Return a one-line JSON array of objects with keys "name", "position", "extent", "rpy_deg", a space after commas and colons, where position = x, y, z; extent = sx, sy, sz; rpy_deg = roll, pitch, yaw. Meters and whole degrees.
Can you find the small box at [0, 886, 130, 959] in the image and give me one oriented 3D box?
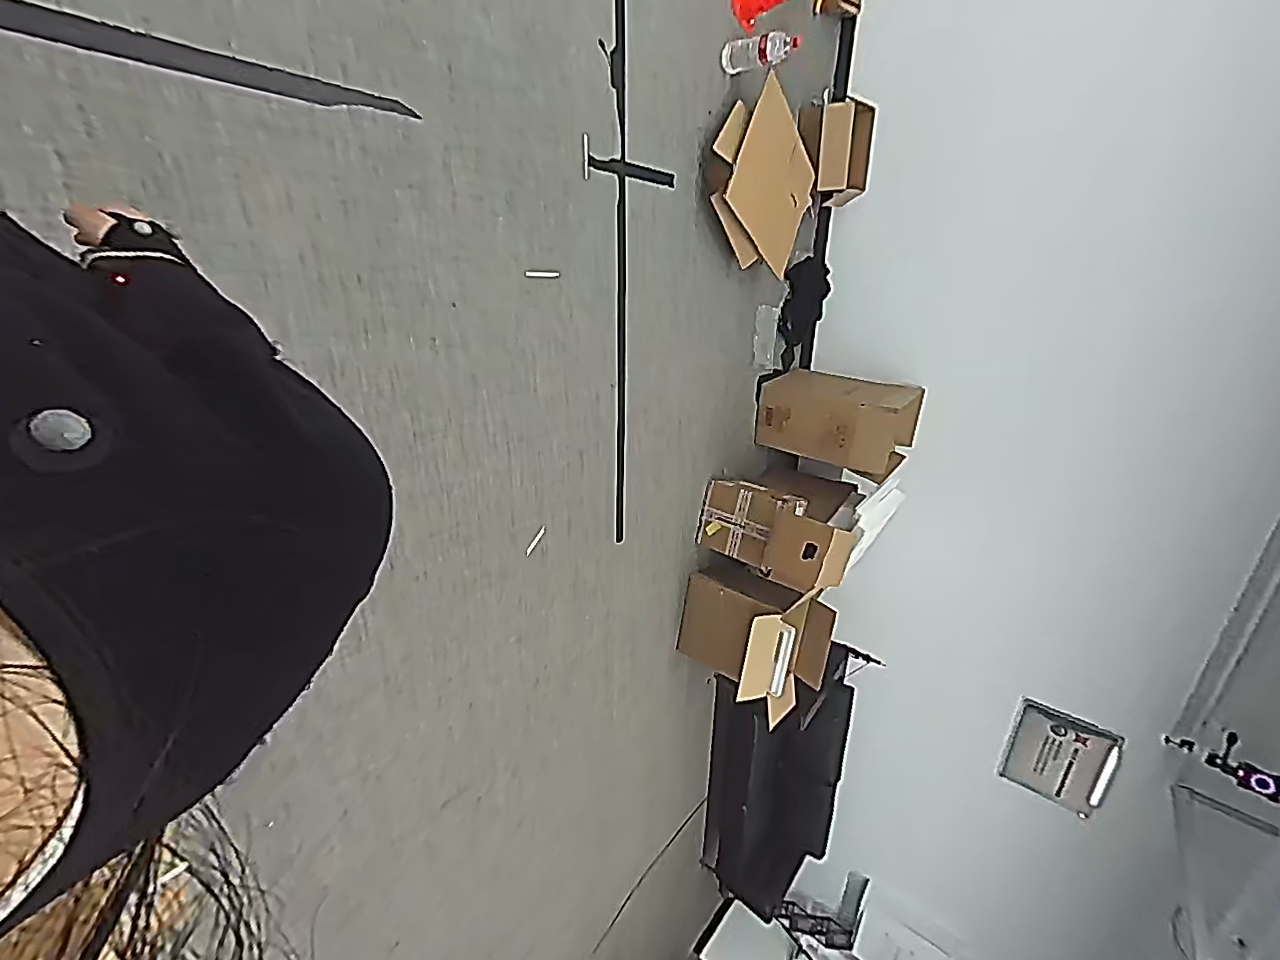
[{"name": "small box", "position": [-1.037, 0.881, 0.954], "extent": [0.179, 0.176, 0.168], "rpy_deg": [-24, 121, -46]}]
